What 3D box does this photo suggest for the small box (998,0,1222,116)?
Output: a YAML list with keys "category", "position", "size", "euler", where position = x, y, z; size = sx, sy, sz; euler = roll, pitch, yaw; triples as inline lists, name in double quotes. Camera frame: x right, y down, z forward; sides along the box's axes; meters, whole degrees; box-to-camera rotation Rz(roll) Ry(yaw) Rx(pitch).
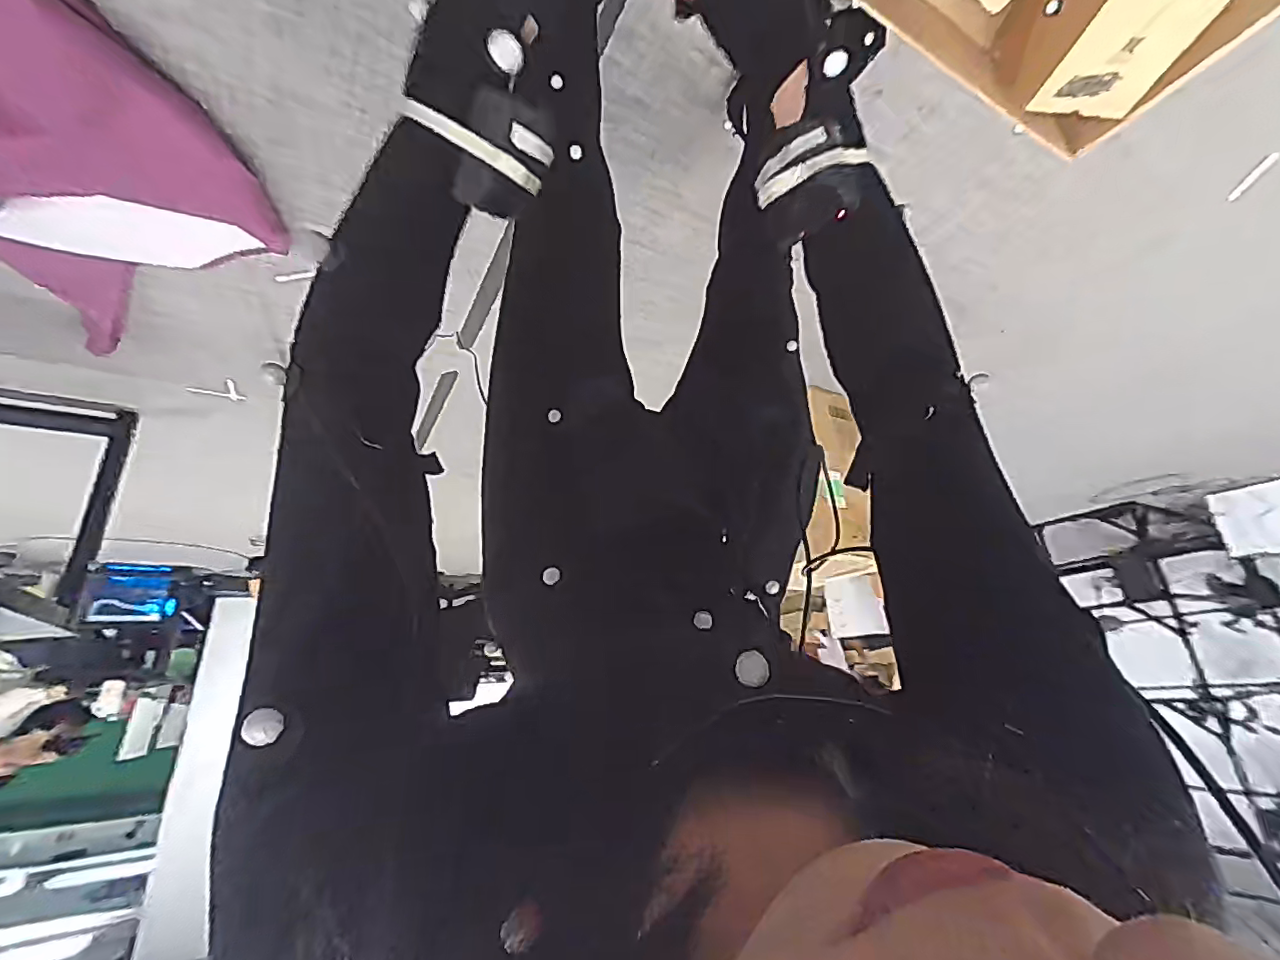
- category: "small box"
  position: [0.652, -0.666, 0.771]
  size: [0.168, 0.176, 0.179]
  euler: [0, 157, -7]
